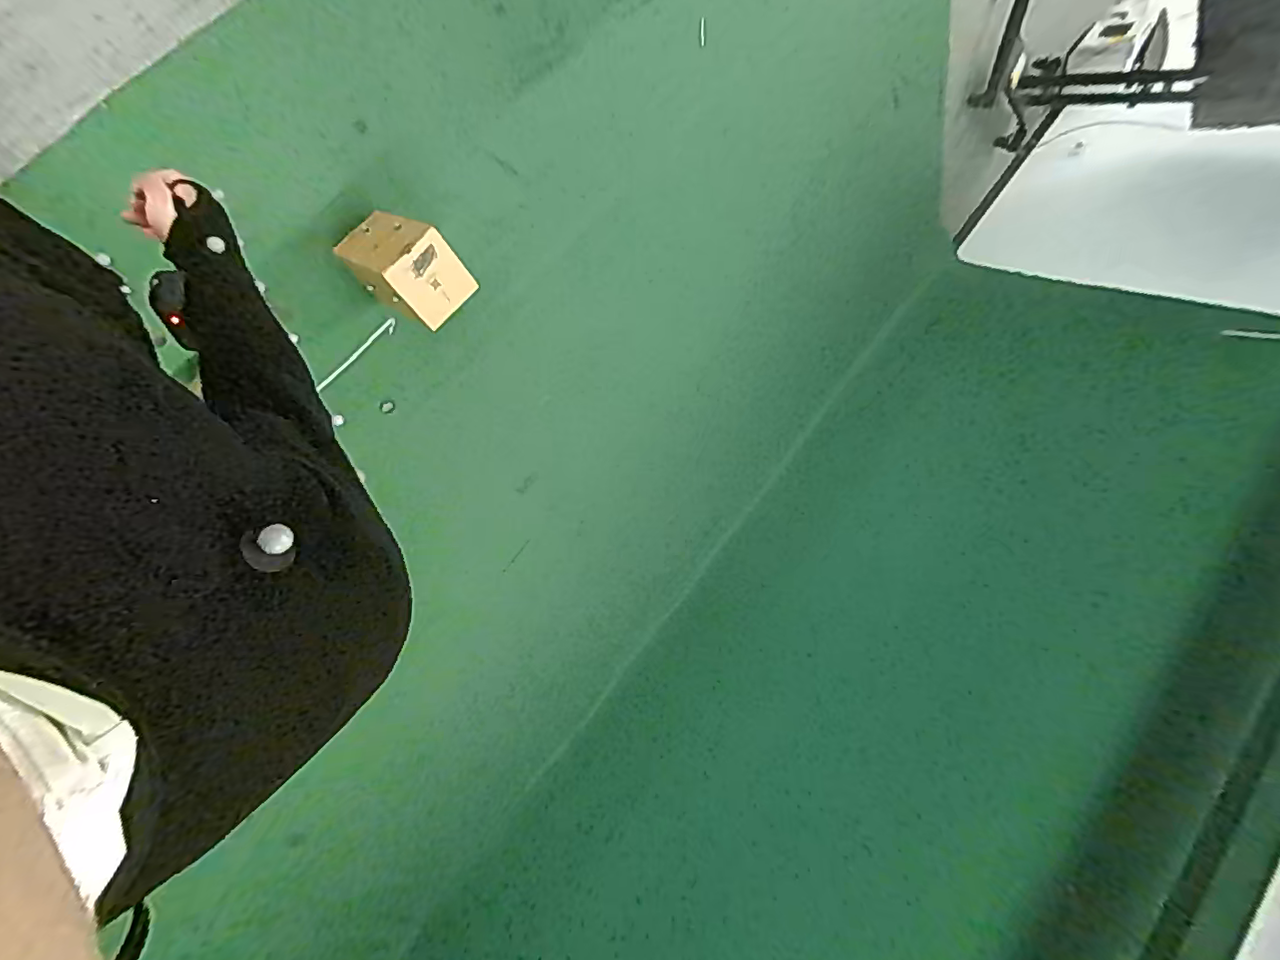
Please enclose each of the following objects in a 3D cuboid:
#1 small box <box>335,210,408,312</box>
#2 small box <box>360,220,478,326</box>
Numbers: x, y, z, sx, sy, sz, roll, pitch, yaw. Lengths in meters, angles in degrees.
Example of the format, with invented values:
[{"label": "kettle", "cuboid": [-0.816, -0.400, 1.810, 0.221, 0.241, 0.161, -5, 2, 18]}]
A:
[{"label": "small box", "cuboid": [-0.653, -0.579, 1.419, 0.168, 0.176, 0.179, -50, 142, -11]}, {"label": "small box", "cuboid": [-0.541, -0.511, 1.320, 0.168, 0.176, 0.179, -50, 142, -11]}]
